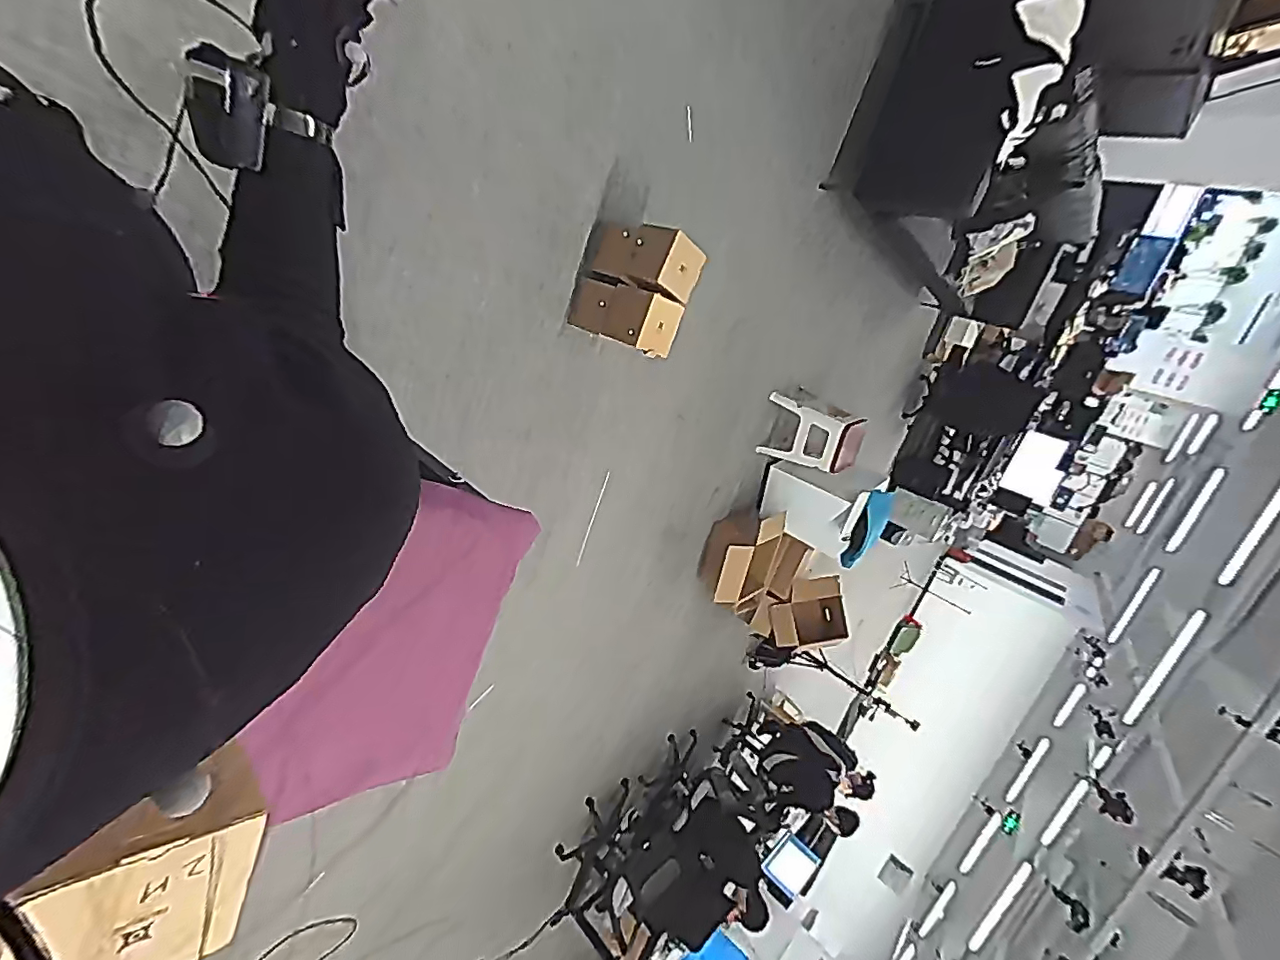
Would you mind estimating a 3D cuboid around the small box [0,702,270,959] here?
[{"bbox_3d":[-0.494,0.354,0.523,0.168,0.176,0.179,6,109,-52],"label":"small box"}]
